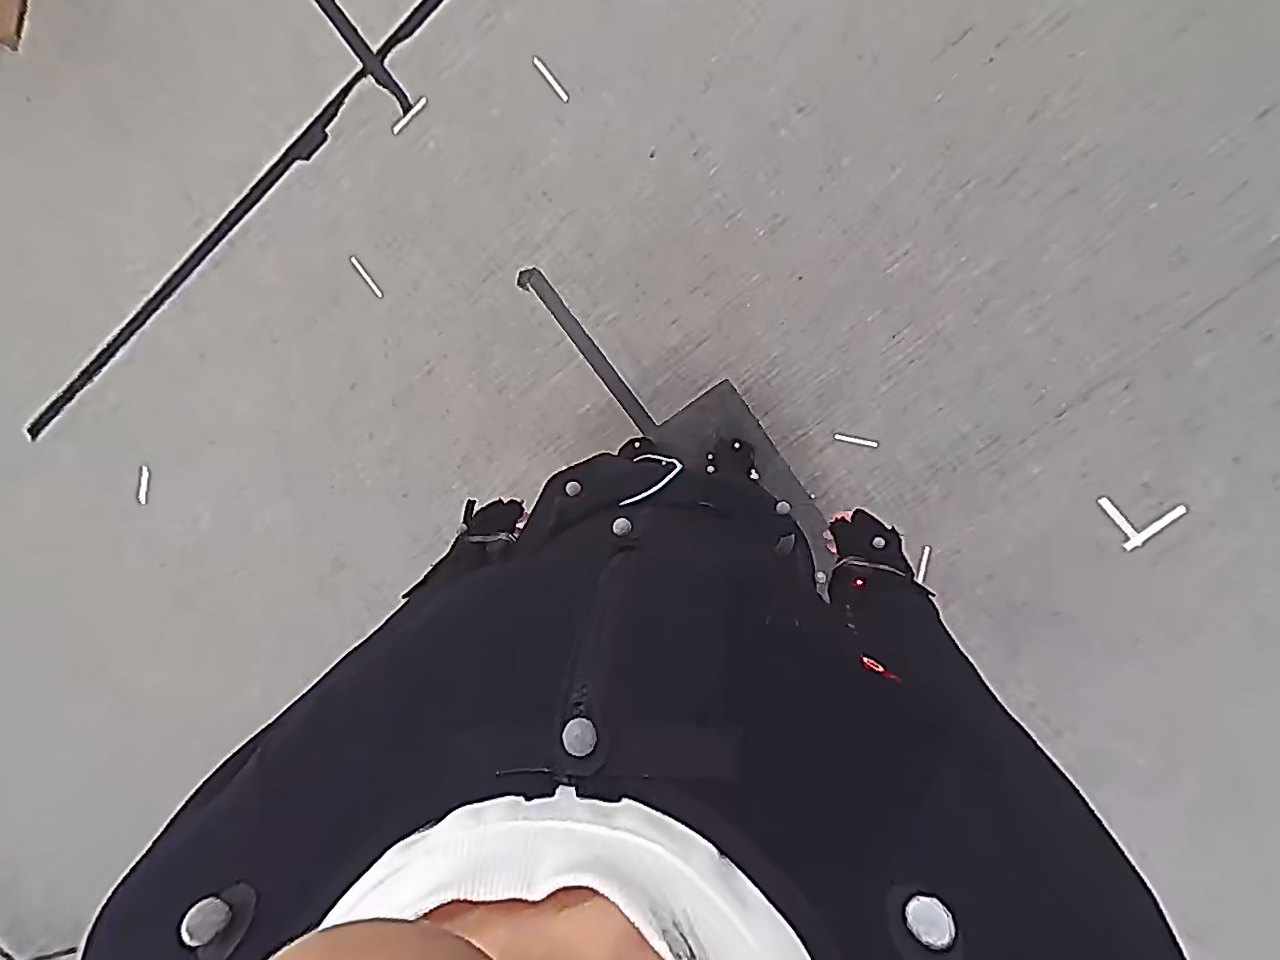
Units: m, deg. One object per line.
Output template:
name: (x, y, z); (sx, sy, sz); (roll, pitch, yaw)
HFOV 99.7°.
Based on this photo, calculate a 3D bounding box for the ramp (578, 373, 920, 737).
ramp: (0.319, 0.246, 1.500); (0.509, 0.206, 0.991); (-37, 90, 8)
